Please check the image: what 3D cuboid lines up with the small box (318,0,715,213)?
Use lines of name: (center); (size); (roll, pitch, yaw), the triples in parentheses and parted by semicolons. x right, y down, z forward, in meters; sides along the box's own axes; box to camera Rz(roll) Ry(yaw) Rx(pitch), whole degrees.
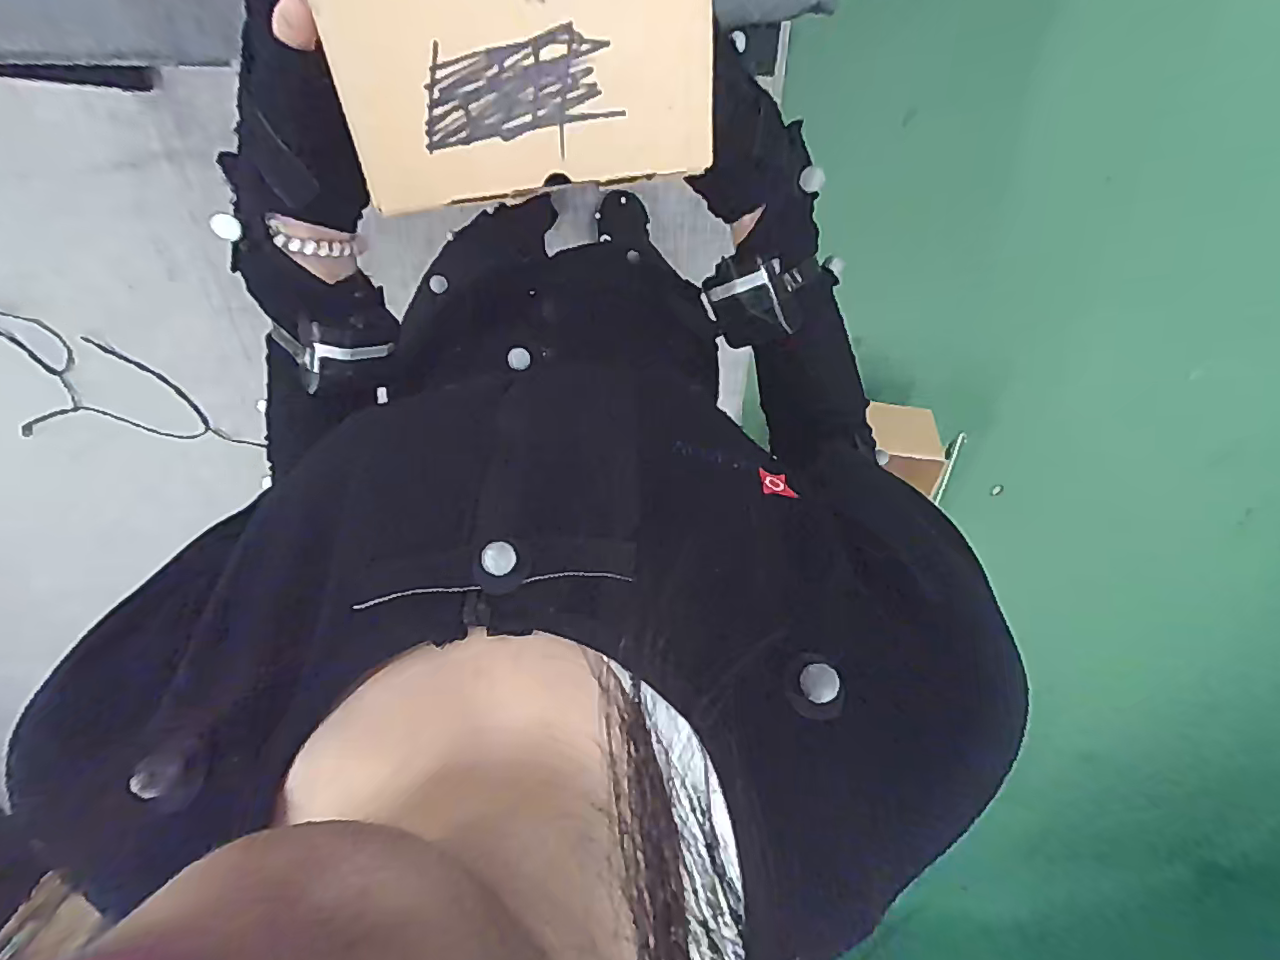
small box: (-0.072, -0.252, 0.271); (0.168, 0.176, 0.179); (-16, 128, -15)
